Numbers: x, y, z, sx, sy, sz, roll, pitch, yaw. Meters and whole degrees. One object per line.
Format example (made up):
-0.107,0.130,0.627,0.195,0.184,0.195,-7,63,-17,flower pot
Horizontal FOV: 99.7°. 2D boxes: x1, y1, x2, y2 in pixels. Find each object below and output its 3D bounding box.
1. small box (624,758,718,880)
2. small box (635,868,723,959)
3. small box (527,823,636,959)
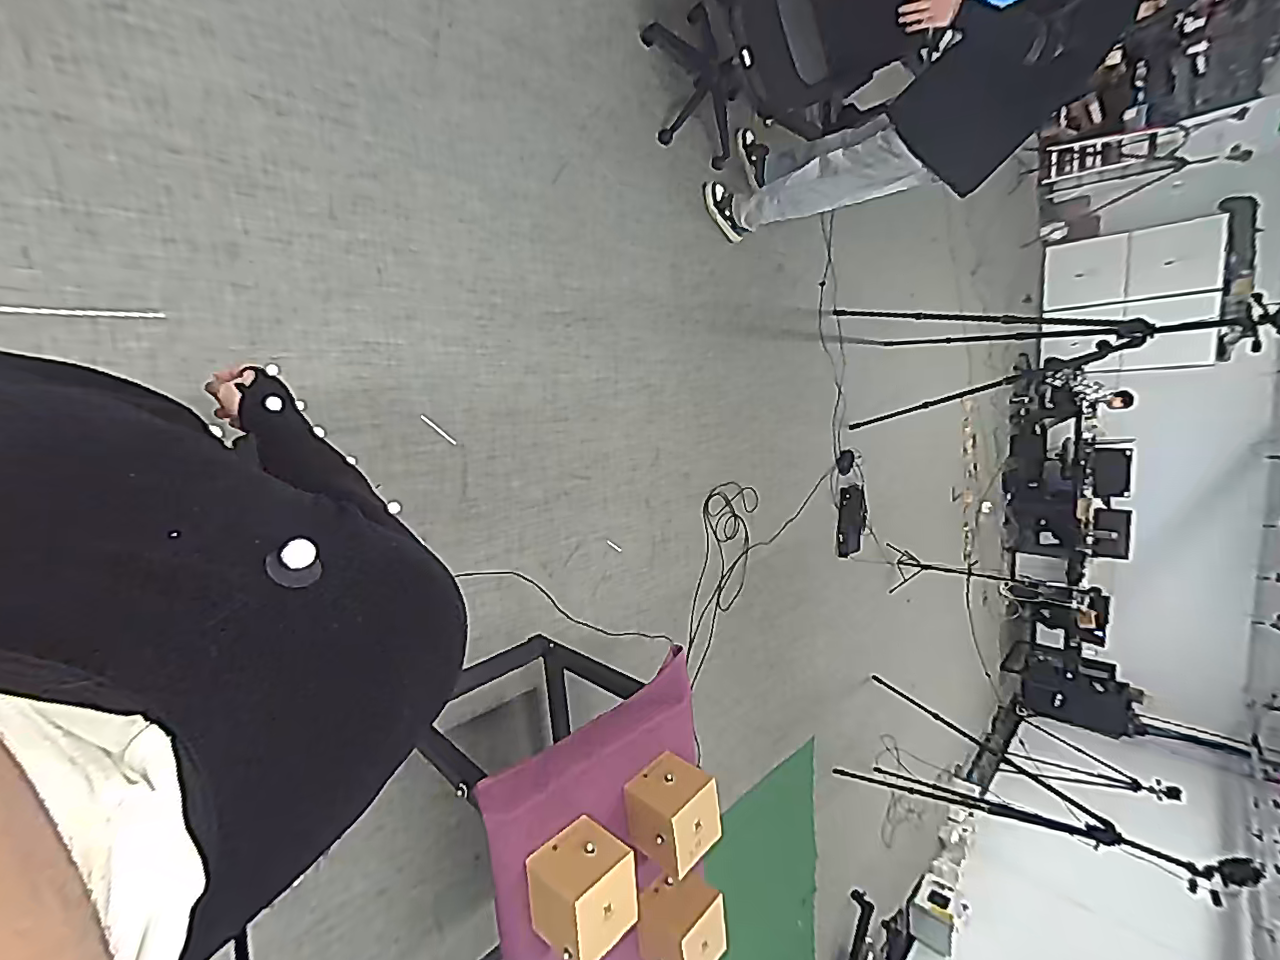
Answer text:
0.076,0.838,1.365,0.168,0.176,0.179,-17,105,-42,small box
0.099,1.171,1.419,0.168,0.176,0.179,-14,103,-44,small box
-0.129,0.883,1.164,0.168,0.176,0.179,-12,103,-45,small box
